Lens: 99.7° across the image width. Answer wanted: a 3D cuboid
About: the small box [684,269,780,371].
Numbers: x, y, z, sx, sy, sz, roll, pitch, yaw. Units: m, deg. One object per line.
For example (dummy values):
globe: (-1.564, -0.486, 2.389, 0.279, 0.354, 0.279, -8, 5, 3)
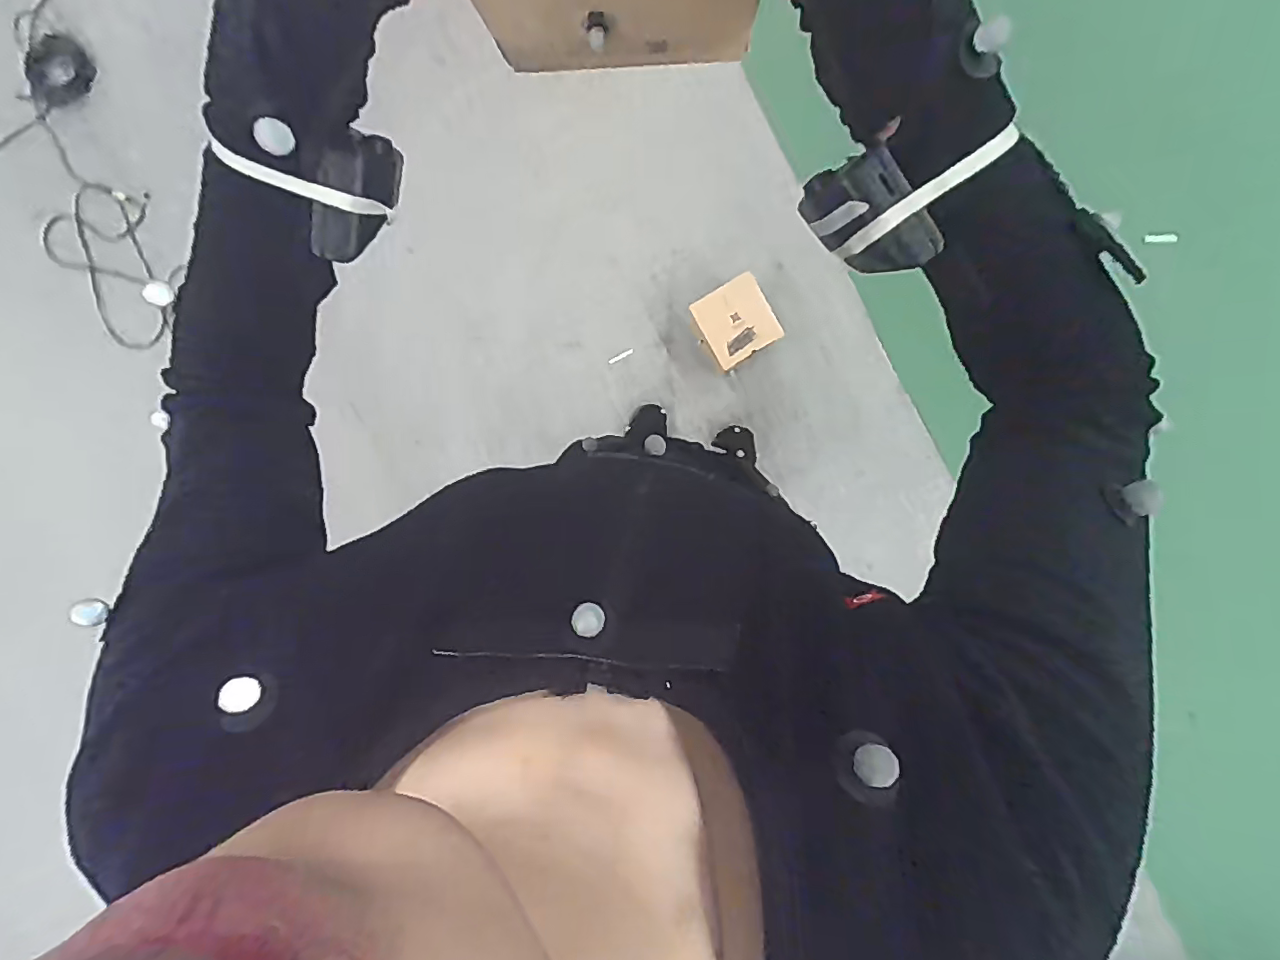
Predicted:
small box: (0.220, -0.383, 1.333, 0.168, 0.176, 0.179, -30, 94, 6)
